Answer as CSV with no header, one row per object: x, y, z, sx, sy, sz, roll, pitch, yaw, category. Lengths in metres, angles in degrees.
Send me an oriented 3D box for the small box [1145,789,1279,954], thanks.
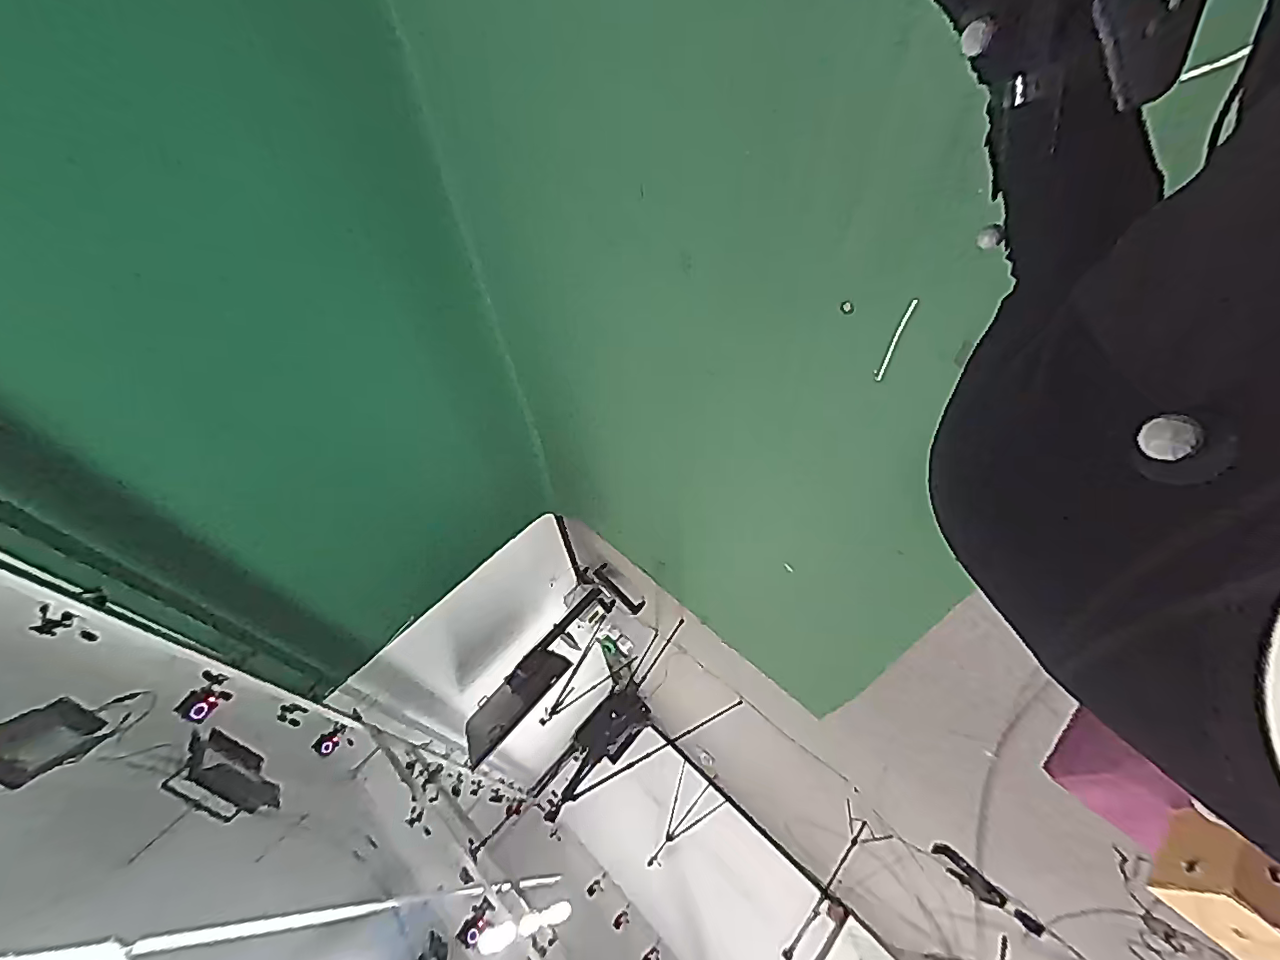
1.022,0.648,0.907,0.168,0.176,0.179,37,155,22,small box
